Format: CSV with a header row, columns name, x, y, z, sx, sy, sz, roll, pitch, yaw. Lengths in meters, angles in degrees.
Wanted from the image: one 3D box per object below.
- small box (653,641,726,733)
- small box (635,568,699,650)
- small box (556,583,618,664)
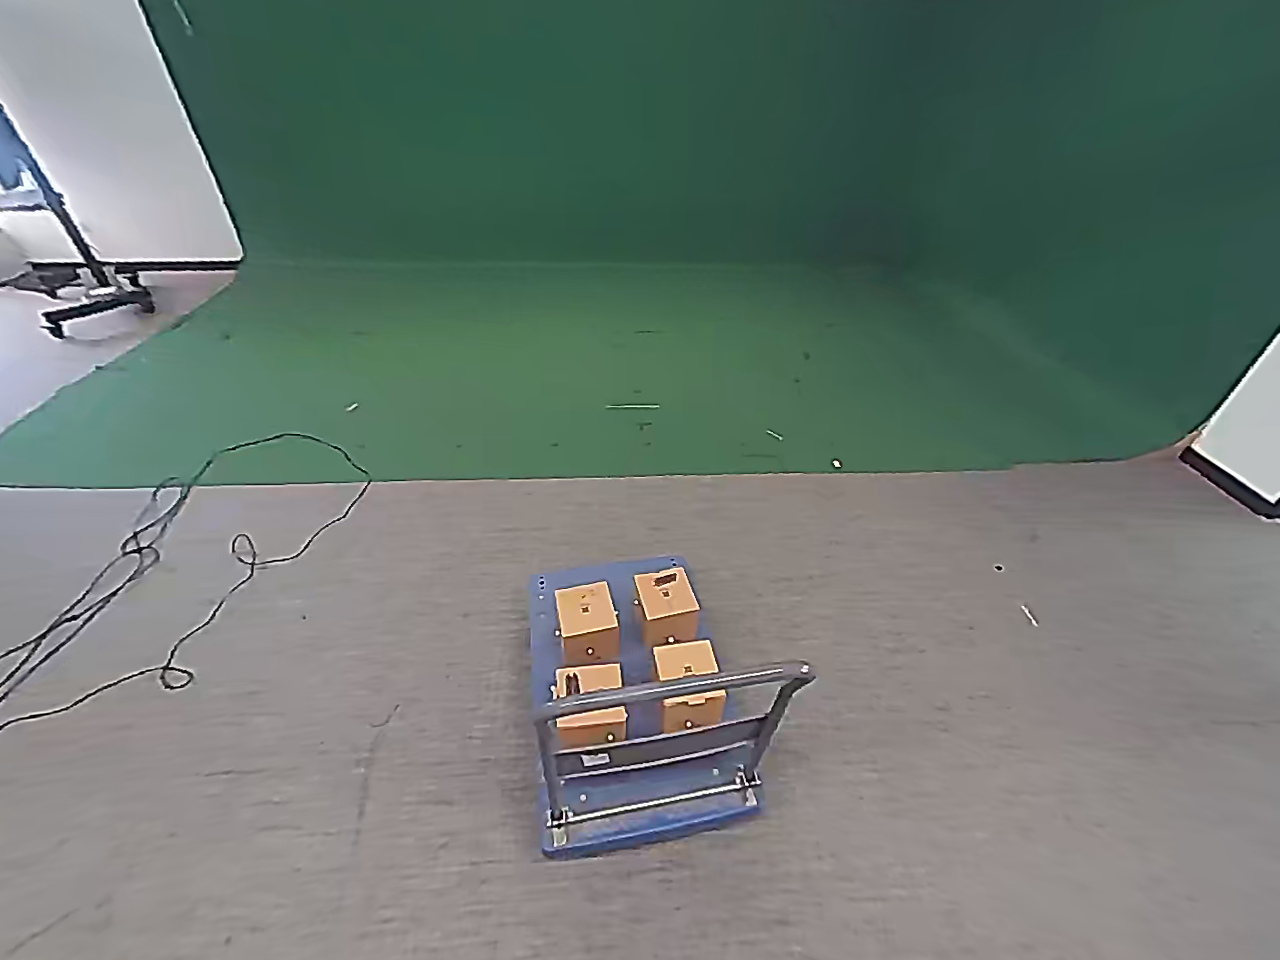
name,x,y,z,sx,sy,sz,roll,pitch,yaw
small box,0.132,0.585,1.532,0.168,0.176,0.179,-6,40,-8
small box,0.080,0.414,1.736,0.168,0.176,0.179,-9,42,-11
small box,-0.163,0.453,1.684,0.168,0.176,0.179,-8,40,-12
